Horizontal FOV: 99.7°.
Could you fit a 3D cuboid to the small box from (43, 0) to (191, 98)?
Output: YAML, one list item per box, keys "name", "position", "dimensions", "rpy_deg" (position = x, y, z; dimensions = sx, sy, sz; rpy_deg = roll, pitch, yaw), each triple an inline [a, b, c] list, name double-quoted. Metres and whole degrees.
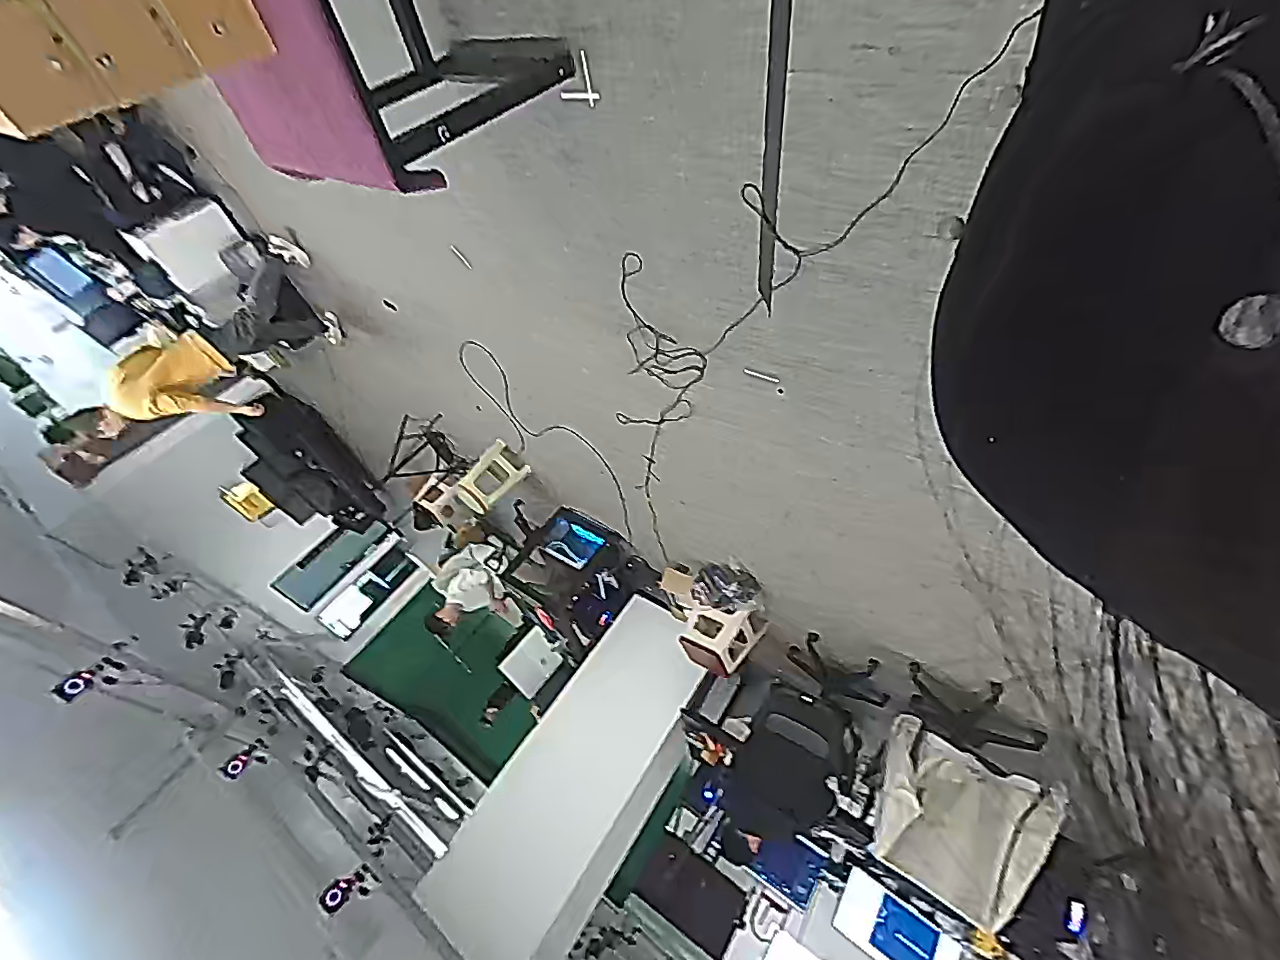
- name: "small box"
  position: [-1.005, -0.847, 1.013]
  dimensions: [0.179, 0.176, 0.168]
  rpy_deg: [26, 150, 27]

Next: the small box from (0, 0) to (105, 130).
- name: "small box"
  position: [-1.098, -0.736, 0.933]
  dimensions: [0.179, 0.176, 0.168]
  rpy_deg: [25, 149, 26]

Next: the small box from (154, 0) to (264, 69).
- name: "small box"
  position: [-0.906, -0.957, 1.084]
  dimensions: [0.179, 0.176, 0.168]
  rpy_deg: [26, 150, 26]
